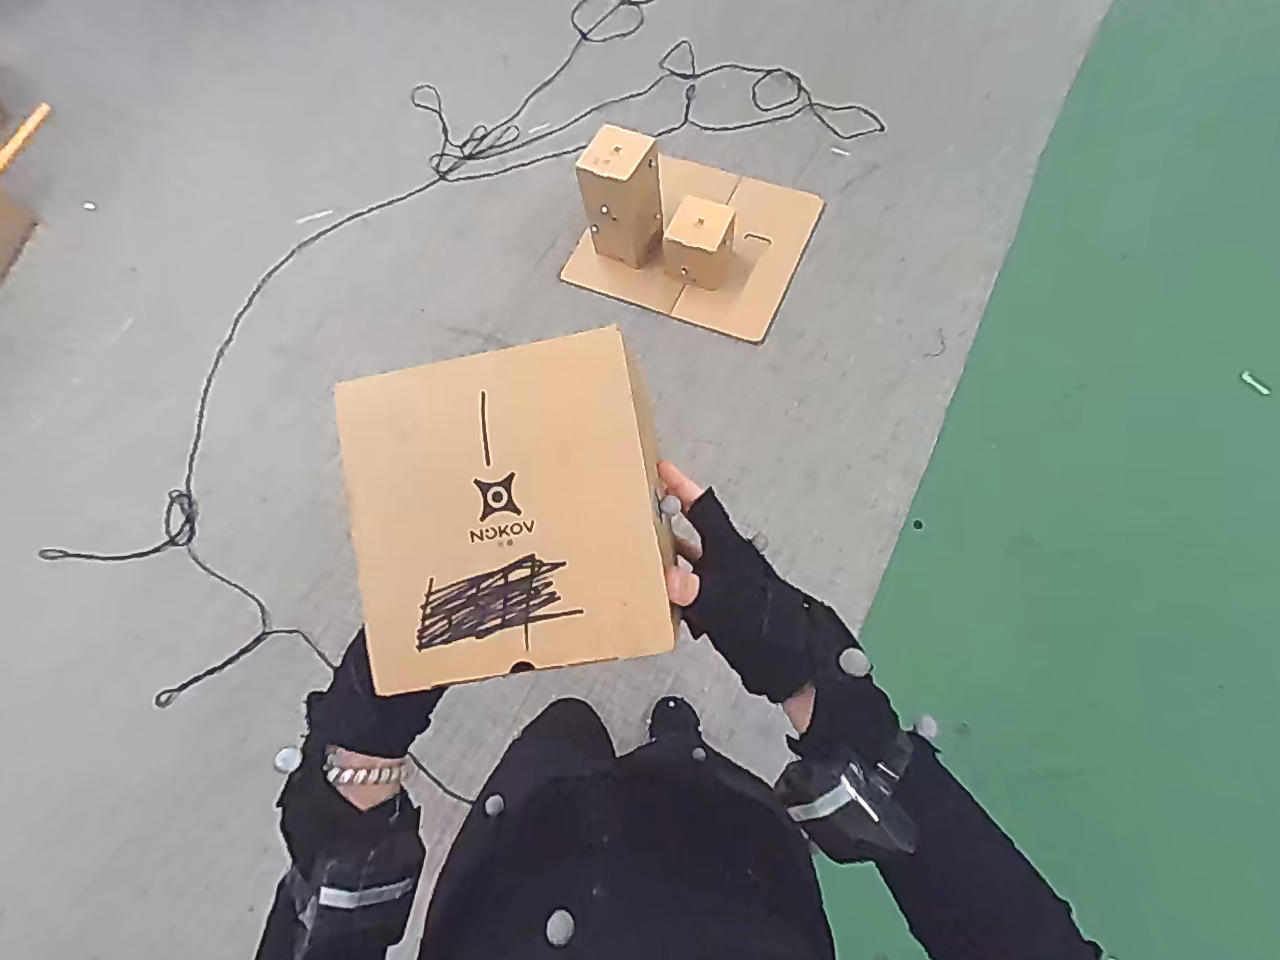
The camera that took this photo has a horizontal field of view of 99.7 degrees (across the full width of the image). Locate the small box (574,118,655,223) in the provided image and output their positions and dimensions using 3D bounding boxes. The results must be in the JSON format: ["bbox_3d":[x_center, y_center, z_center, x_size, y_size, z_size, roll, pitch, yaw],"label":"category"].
[{"bbox_3d":[-0.064,-0.877,1.542,0.168,0.176,0.179,25,75,14],"label":"small box"}]

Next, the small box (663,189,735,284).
[{"bbox_3d":[0.176,-0.737,1.648,0.168,0.176,0.179,21,75,11],"label":"small box"}]

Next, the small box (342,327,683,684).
[{"bbox_3d":[-0.065,0.016,0.373,0.168,0.176,0.179,-10,88,6],"label":"small box"}]
